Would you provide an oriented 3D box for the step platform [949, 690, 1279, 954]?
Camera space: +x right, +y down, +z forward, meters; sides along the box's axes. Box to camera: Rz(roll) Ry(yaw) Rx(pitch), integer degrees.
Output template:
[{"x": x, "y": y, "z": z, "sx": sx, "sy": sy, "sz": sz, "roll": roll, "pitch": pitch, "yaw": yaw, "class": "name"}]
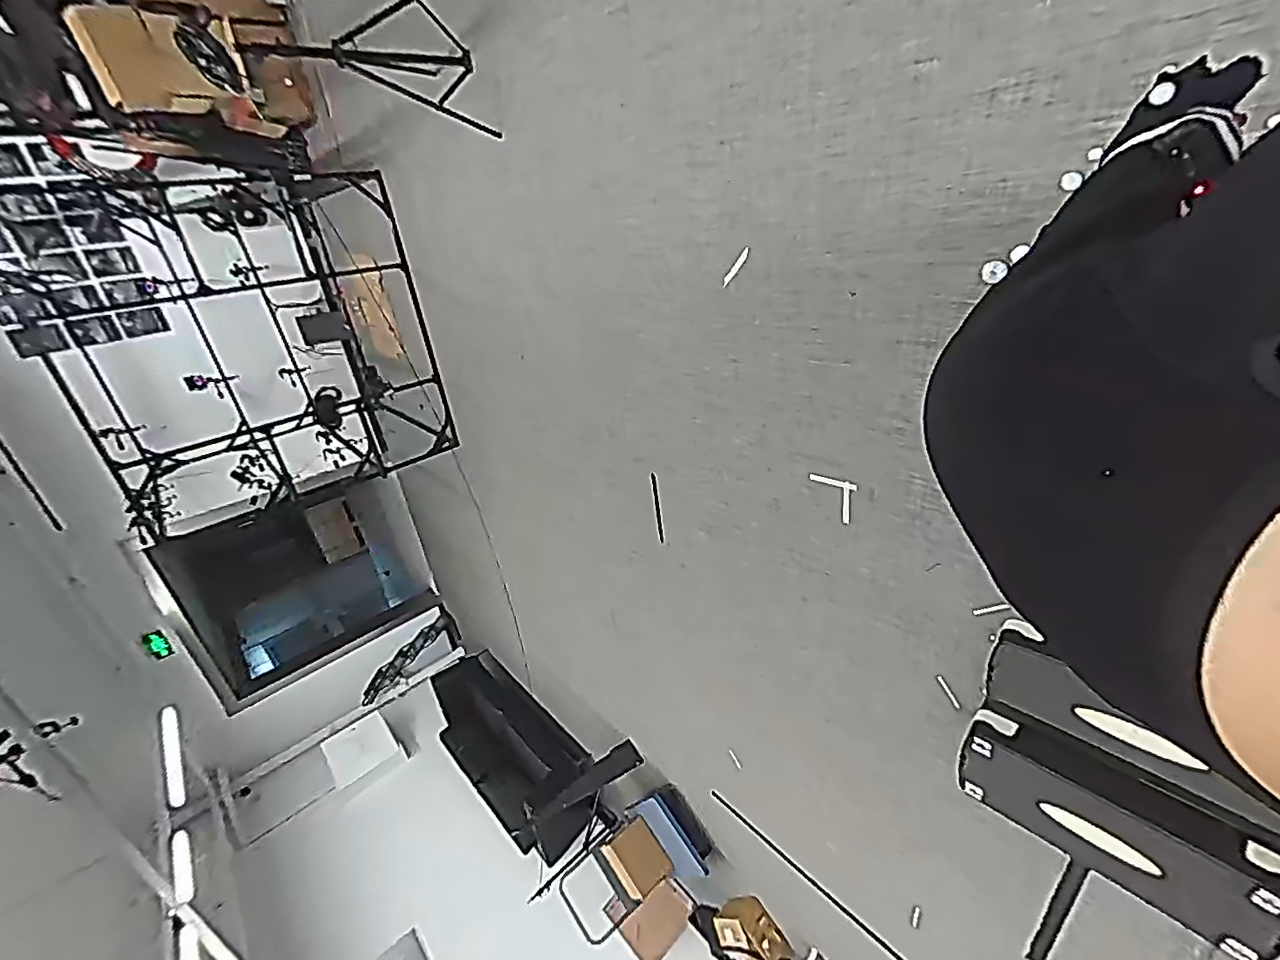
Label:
[{"x": 1.232, "y": 0.884, "z": 1.471, "sx": 0.684, "sy": 0.204, "sz": 0.286, "roll": 21, "pitch": 128, "yaw": 46, "class": "step platform"}]
